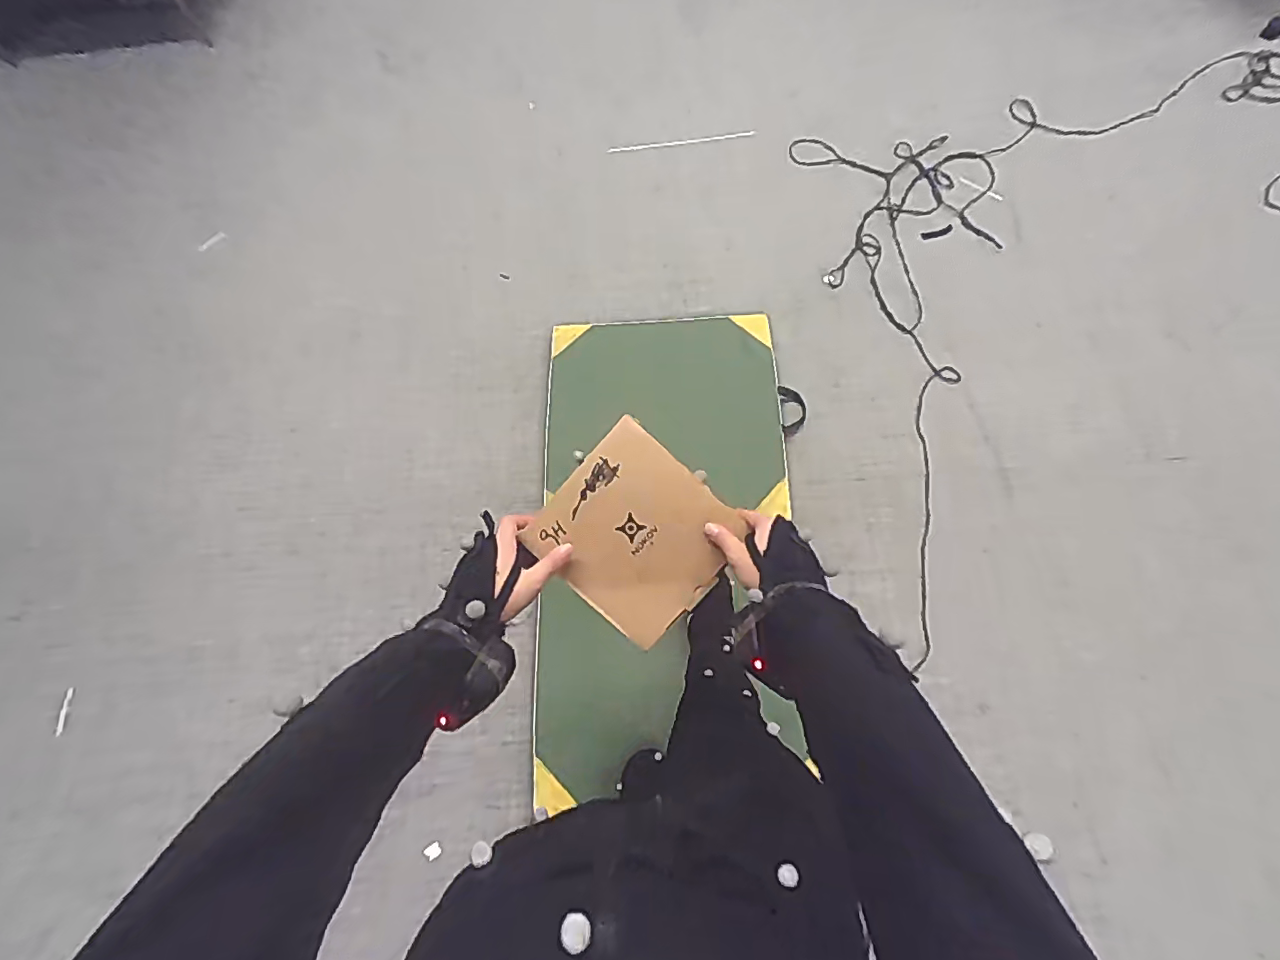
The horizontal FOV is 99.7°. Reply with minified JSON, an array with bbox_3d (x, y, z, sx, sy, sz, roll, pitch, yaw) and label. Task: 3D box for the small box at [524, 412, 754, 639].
[{"bbox_3d":[-0.001,0.042,0.620,0.179,0.176,0.168,42,91,-2],"label":"small box"}]
